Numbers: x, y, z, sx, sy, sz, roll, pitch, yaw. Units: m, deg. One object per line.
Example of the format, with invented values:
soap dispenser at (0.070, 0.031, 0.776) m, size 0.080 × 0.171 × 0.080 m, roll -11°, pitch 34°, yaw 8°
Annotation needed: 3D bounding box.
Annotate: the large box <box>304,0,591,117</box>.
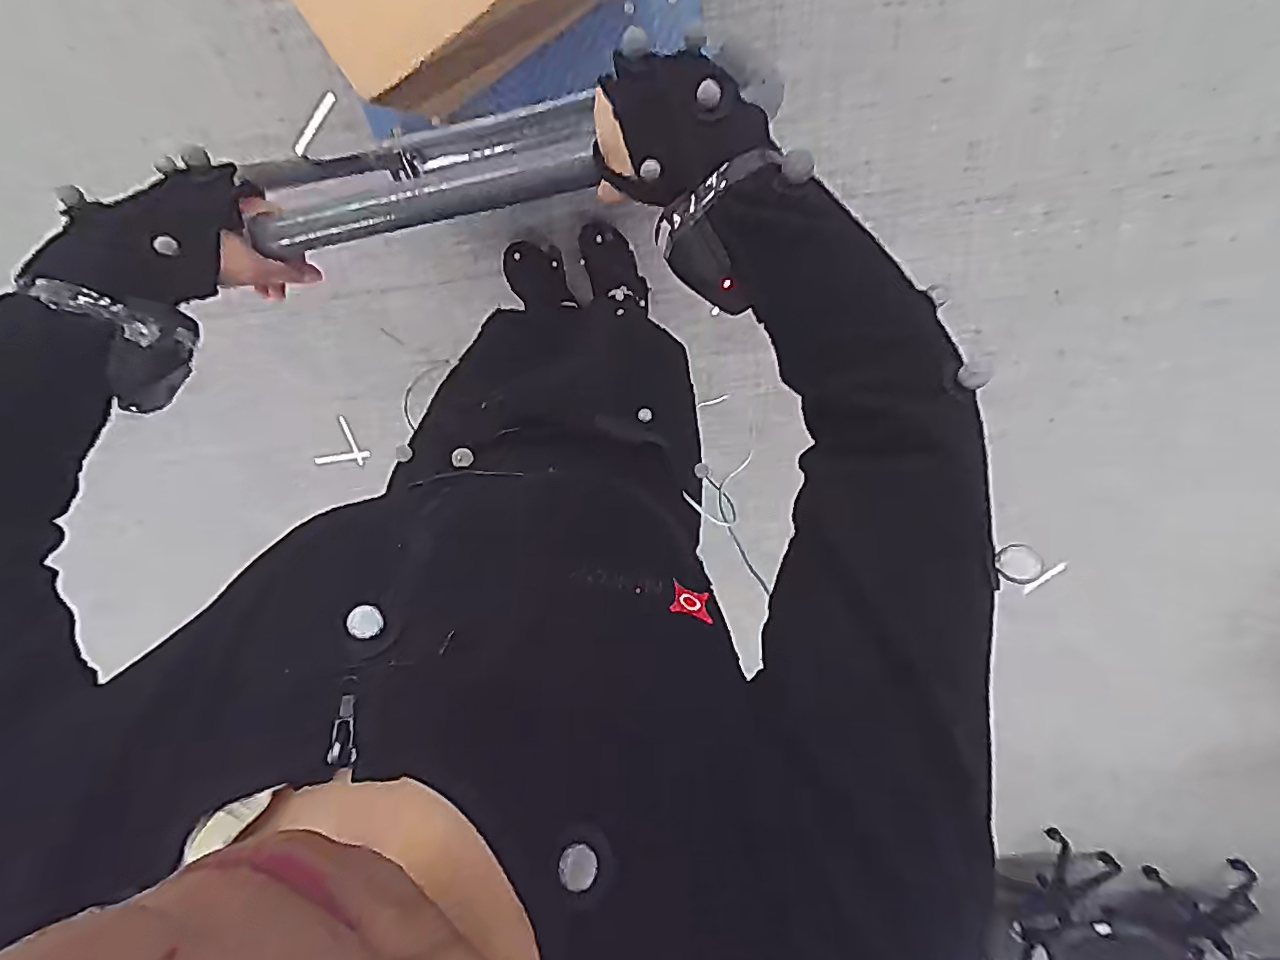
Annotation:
large box at (-0.236, -0.735, 0.669) m, size 0.408 × 0.320 × 0.320 m, roll -27°, pitch 118°, yaw 13°
